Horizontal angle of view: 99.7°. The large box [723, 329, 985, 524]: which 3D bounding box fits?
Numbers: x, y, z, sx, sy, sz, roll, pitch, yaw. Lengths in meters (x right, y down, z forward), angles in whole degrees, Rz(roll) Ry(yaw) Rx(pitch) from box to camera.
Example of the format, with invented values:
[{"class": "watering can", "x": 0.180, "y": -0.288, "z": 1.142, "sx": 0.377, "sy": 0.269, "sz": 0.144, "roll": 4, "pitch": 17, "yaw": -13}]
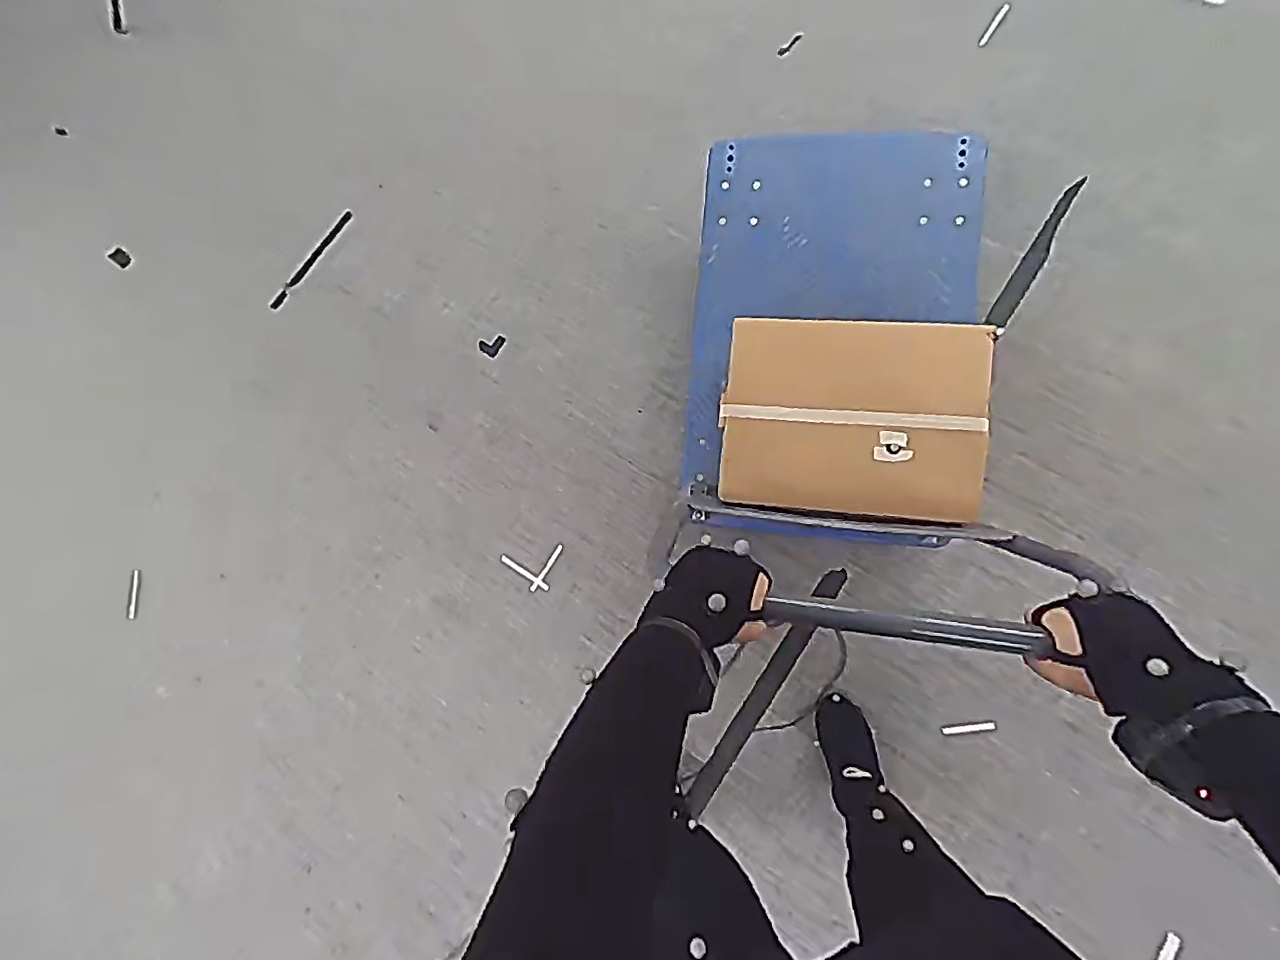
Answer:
[{"class": "large box", "x": 0.369, "y": -0.090, "z": 1.040, "sx": 0.408, "sy": 0.320, "sz": 0.320, "roll": 4, "pitch": 91, "yaw": 10}]
